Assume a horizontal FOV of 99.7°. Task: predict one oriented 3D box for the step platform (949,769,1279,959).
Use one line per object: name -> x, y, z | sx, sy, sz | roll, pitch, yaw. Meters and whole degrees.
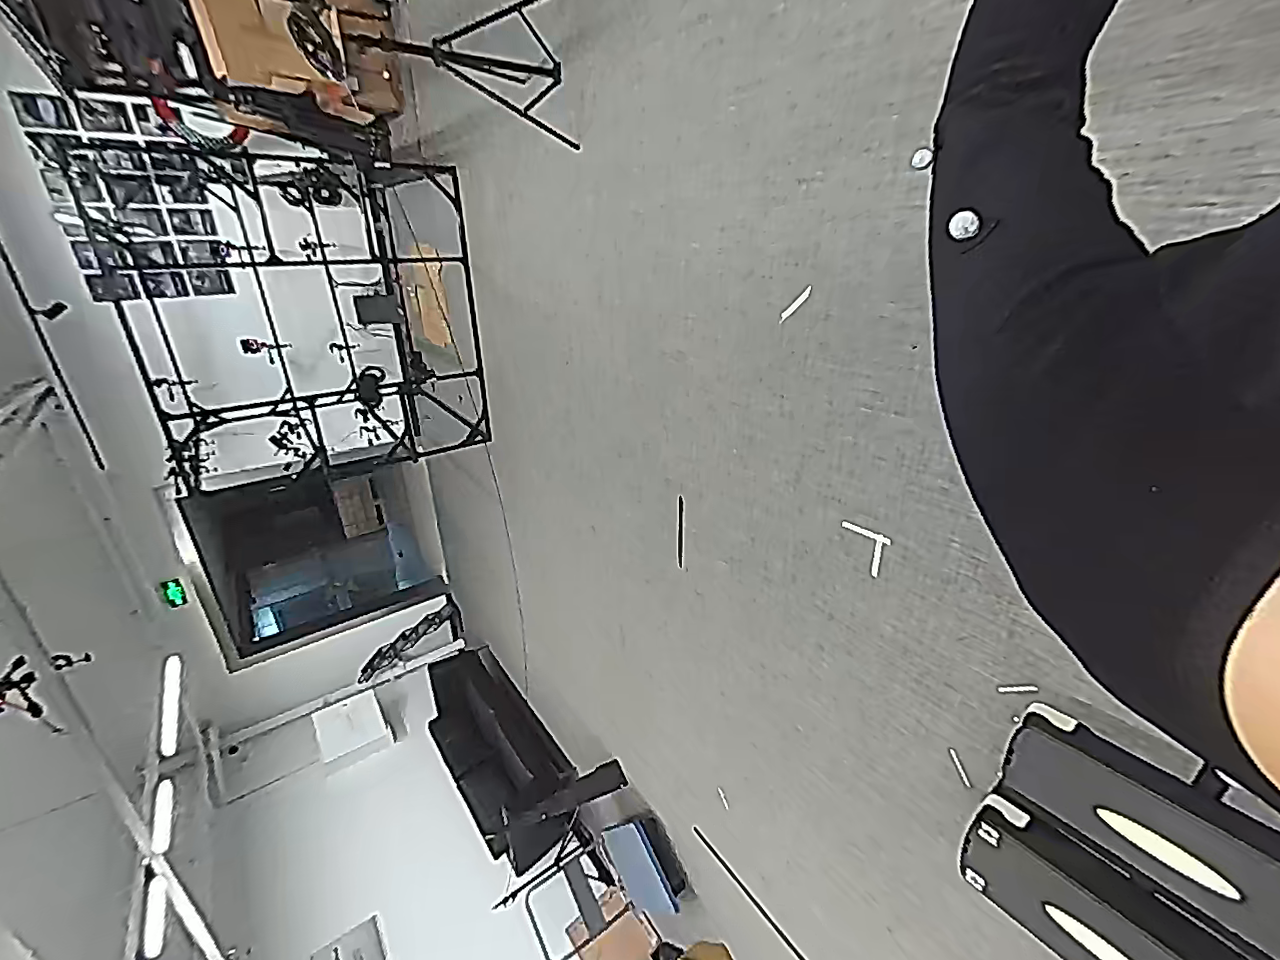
step platform -> 1.183, 1.107, 1.389 | 0.684, 0.204, 0.286 | 28, 126, 50
